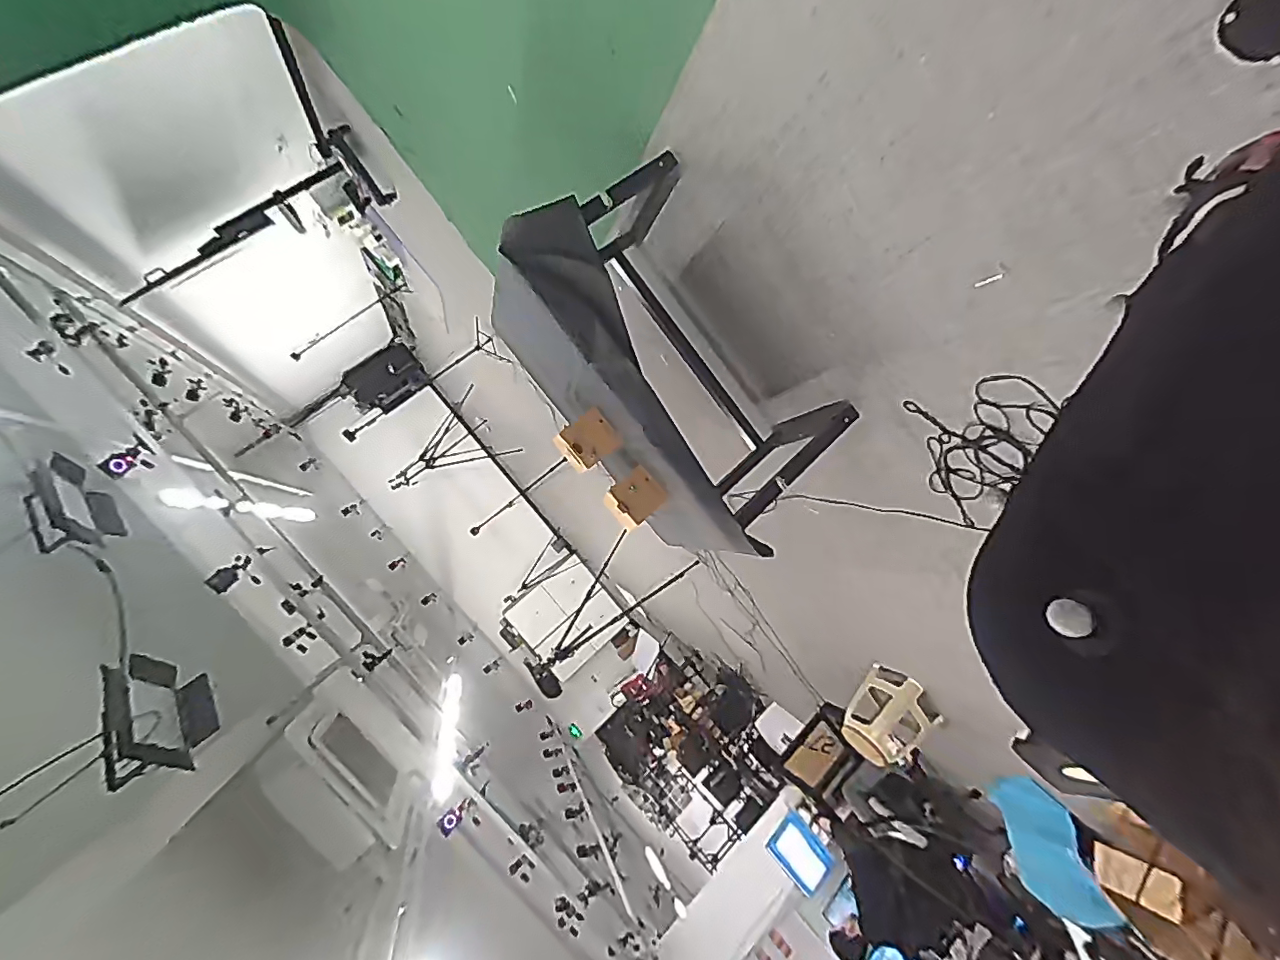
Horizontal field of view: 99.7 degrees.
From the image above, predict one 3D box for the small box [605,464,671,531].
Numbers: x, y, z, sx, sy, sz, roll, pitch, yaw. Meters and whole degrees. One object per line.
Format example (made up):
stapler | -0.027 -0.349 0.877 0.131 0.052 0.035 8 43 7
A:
small box | -0.008 0.064 1.992 0.168 0.176 0.179 50 165 4
